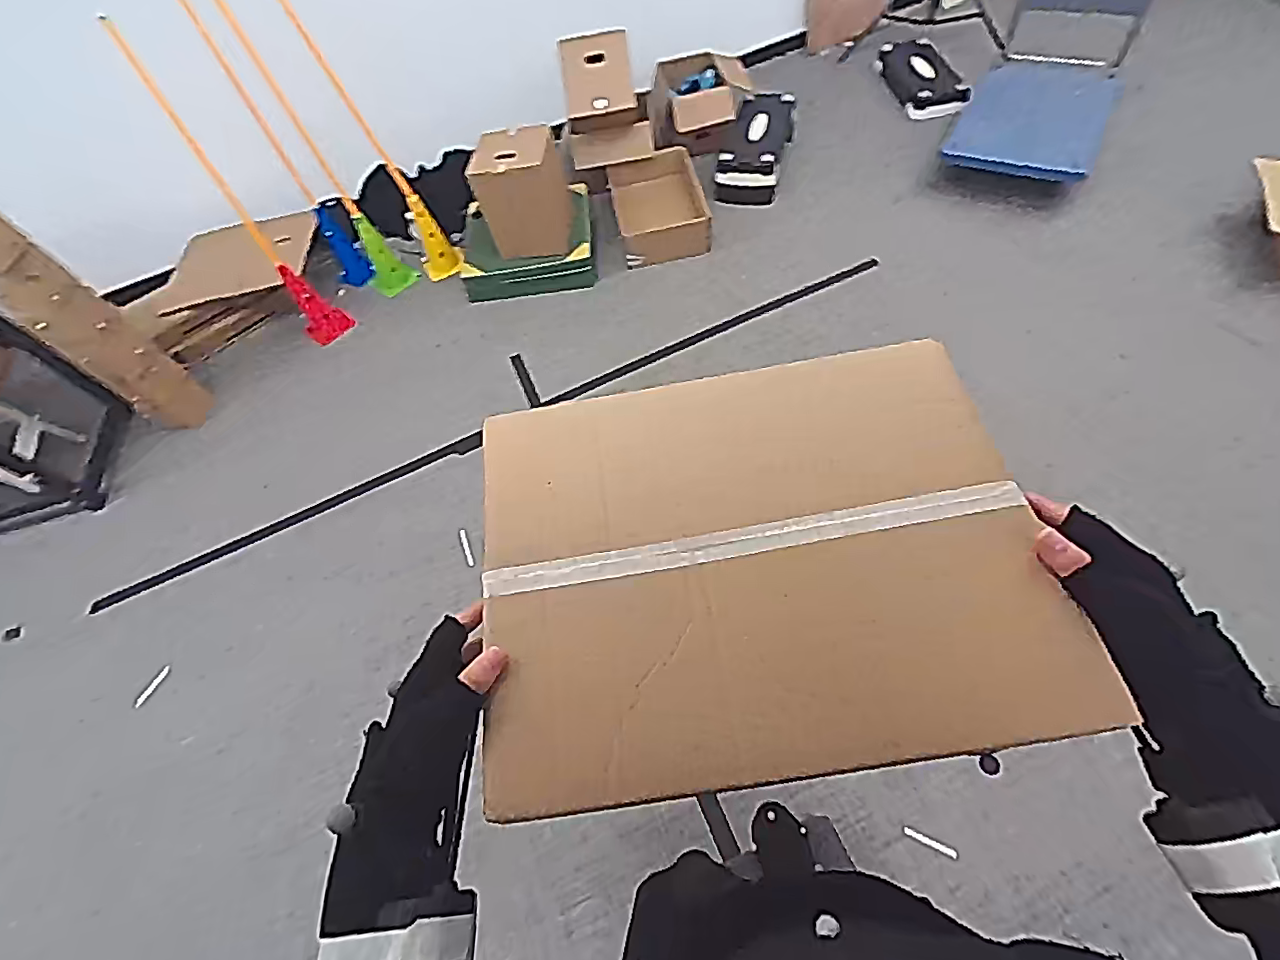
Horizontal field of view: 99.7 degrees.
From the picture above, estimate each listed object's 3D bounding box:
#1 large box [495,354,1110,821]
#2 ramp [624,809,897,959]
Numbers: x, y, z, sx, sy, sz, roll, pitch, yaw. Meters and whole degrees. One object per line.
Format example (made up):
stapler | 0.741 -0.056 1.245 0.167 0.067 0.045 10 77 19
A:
large box | 0.101 0.121 0.545 0.408 0.320 0.320 -9 61 2
ramp | 0.393 1.246 1.012 0.509 0.206 0.991 -25 59 -9
